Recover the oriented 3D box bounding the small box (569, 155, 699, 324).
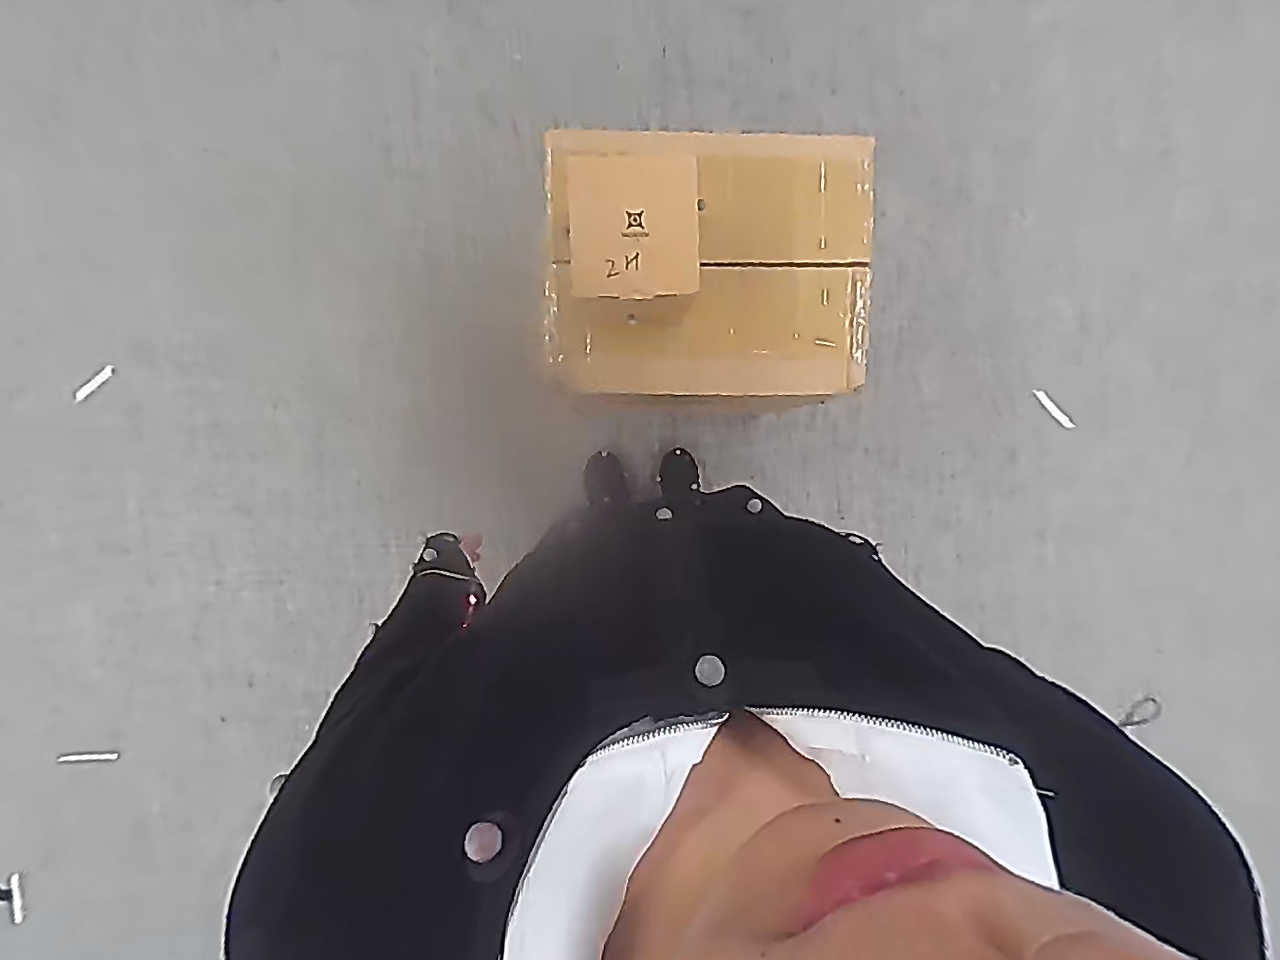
[{"bbox_3d":[-0.012,-0.328,0.766,0.168,0.176,0.179,-2,95,-3],"label":"small box"}]
